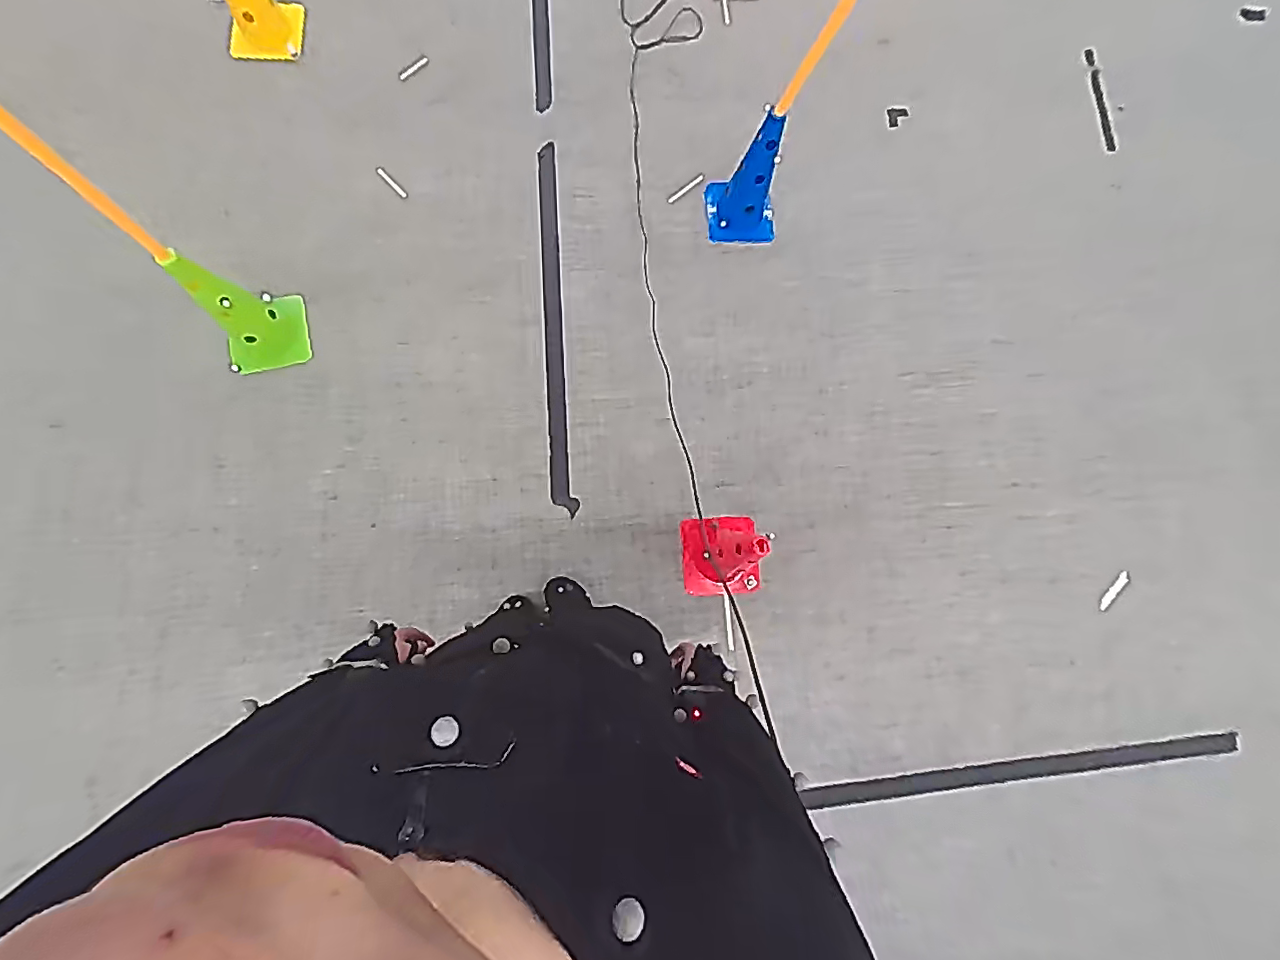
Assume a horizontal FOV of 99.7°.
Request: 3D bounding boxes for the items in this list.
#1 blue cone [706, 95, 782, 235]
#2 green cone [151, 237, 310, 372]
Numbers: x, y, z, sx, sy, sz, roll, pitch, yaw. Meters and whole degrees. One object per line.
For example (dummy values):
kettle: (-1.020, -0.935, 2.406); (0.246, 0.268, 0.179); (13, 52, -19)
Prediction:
blue cone: (0.308, -0.850, 1.459); (0.193, 0.380, 0.192); (-1, 78, -5)
green cone: (-0.977, -0.431, 1.268); (0.200, 0.368, 0.202); (-14, 79, -7)
